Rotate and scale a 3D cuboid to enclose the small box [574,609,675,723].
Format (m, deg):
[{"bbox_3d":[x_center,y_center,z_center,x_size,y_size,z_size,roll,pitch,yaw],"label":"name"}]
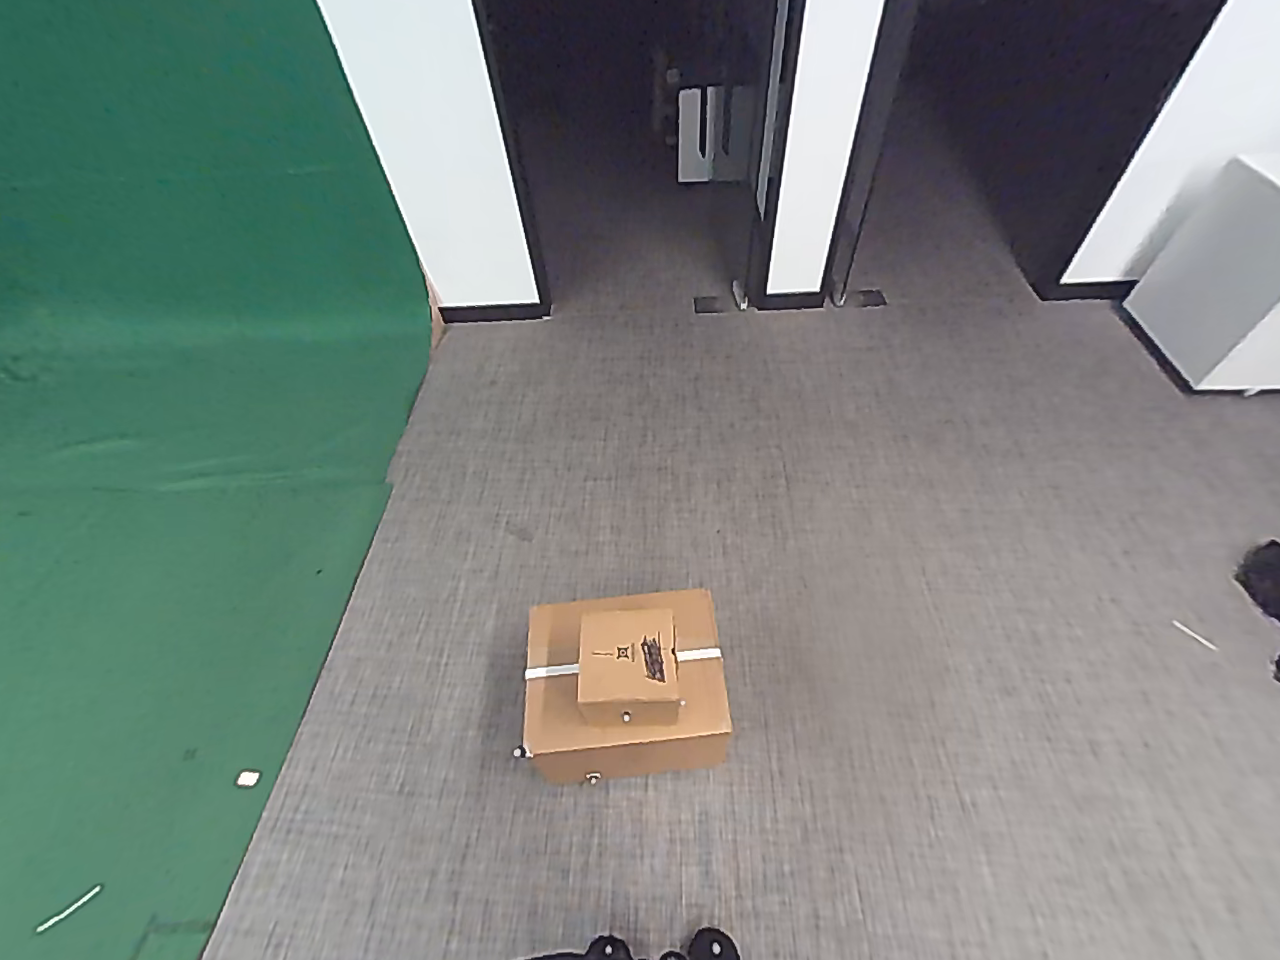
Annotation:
[{"bbox_3d":[-0.024,0.361,1.041,0.179,0.176,0.168,-3,52,2],"label":"small box"}]
